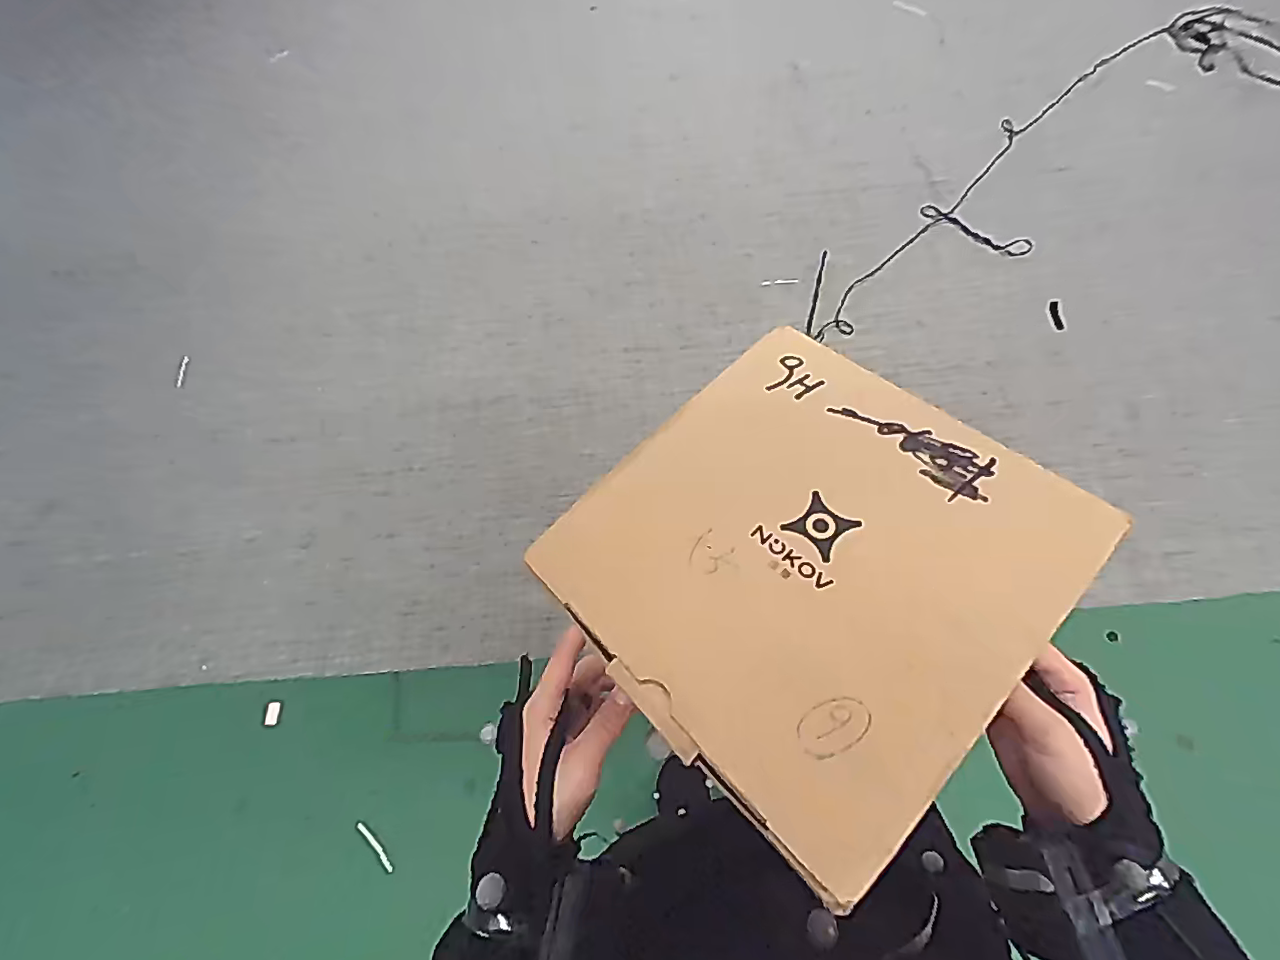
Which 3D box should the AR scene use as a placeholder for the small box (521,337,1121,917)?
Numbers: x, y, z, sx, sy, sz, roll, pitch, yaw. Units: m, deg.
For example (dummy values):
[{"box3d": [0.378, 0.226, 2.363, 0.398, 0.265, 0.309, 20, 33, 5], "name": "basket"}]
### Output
[{"box3d": [0.076, 0.069, 0.283, 0.179, 0.176, 0.168, -42, 61, -14], "name": "small box"}]
